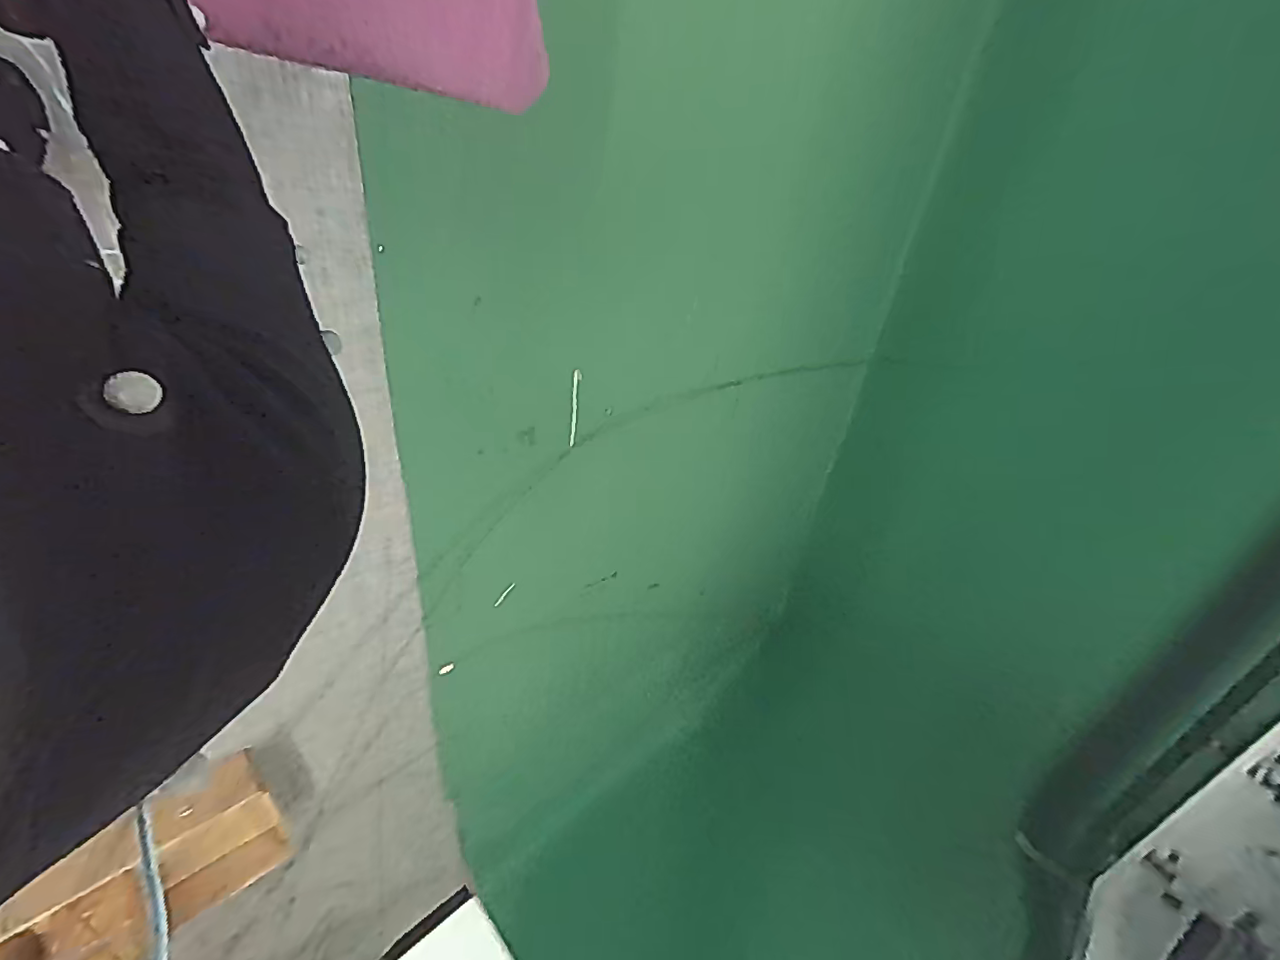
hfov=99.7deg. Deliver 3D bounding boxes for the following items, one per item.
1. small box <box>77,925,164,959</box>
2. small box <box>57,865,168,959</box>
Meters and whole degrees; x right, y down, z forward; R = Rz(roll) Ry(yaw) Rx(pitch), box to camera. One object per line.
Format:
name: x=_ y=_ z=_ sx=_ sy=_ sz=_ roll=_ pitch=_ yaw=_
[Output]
small box: x=-1.377 y=1.328 z=1.419 sx=0.168 sy=0.176 sz=0.179 roll=-24 pitch=133 yaw=-38
small box: x=-1.493 y=1.242 z=1.531 sx=0.168 sy=0.176 sz=0.179 roll=-29 pitch=137 yaw=-36
